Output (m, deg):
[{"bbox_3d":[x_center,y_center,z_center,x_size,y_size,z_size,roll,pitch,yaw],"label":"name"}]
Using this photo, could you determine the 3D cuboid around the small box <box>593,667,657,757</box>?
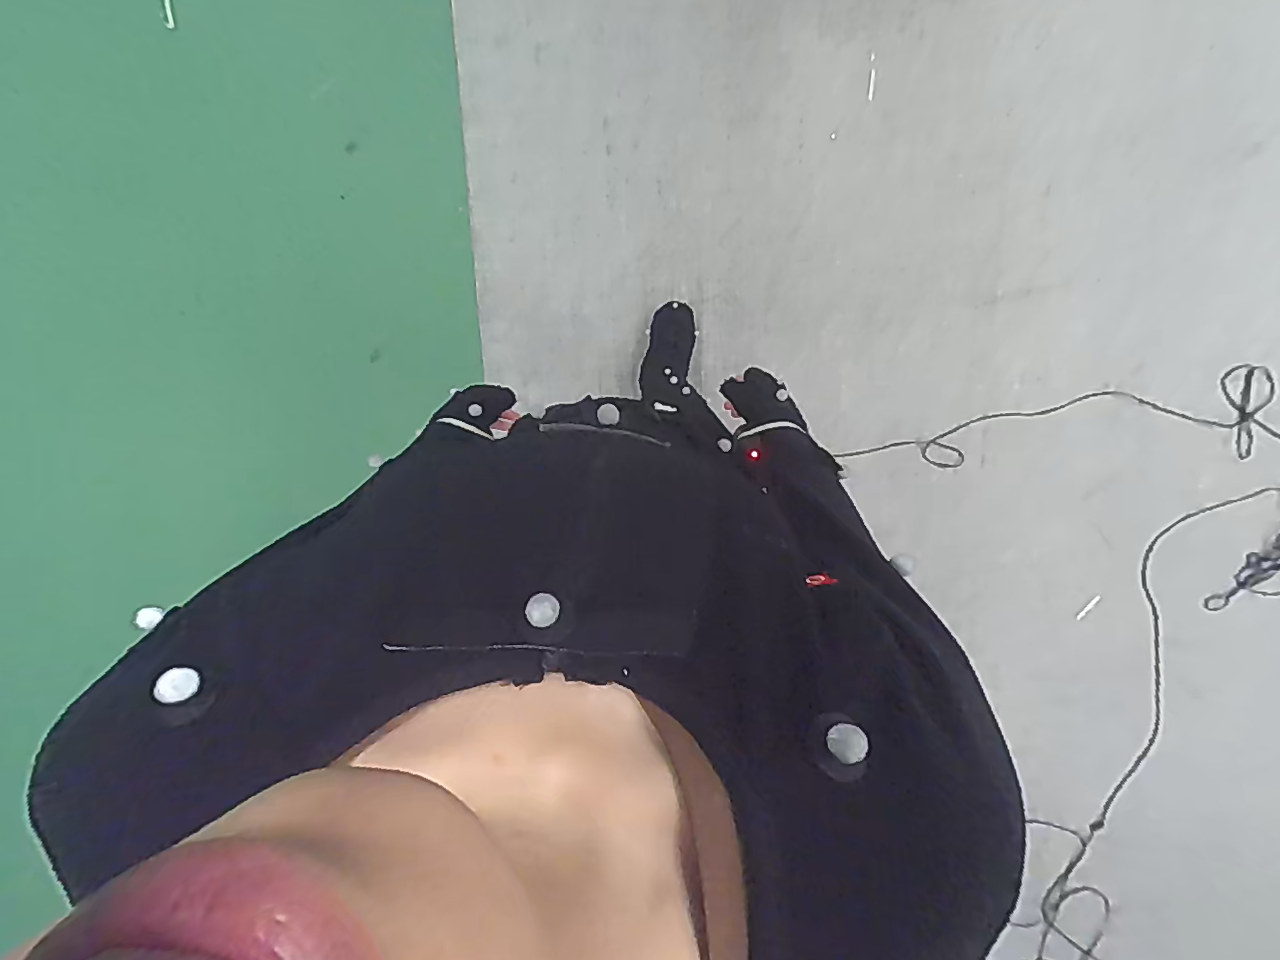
[{"bbox_3d":[-0.042,0.641,1.516,0.168,0.176,0.179,-4,101,1],"label":"small box"}]
